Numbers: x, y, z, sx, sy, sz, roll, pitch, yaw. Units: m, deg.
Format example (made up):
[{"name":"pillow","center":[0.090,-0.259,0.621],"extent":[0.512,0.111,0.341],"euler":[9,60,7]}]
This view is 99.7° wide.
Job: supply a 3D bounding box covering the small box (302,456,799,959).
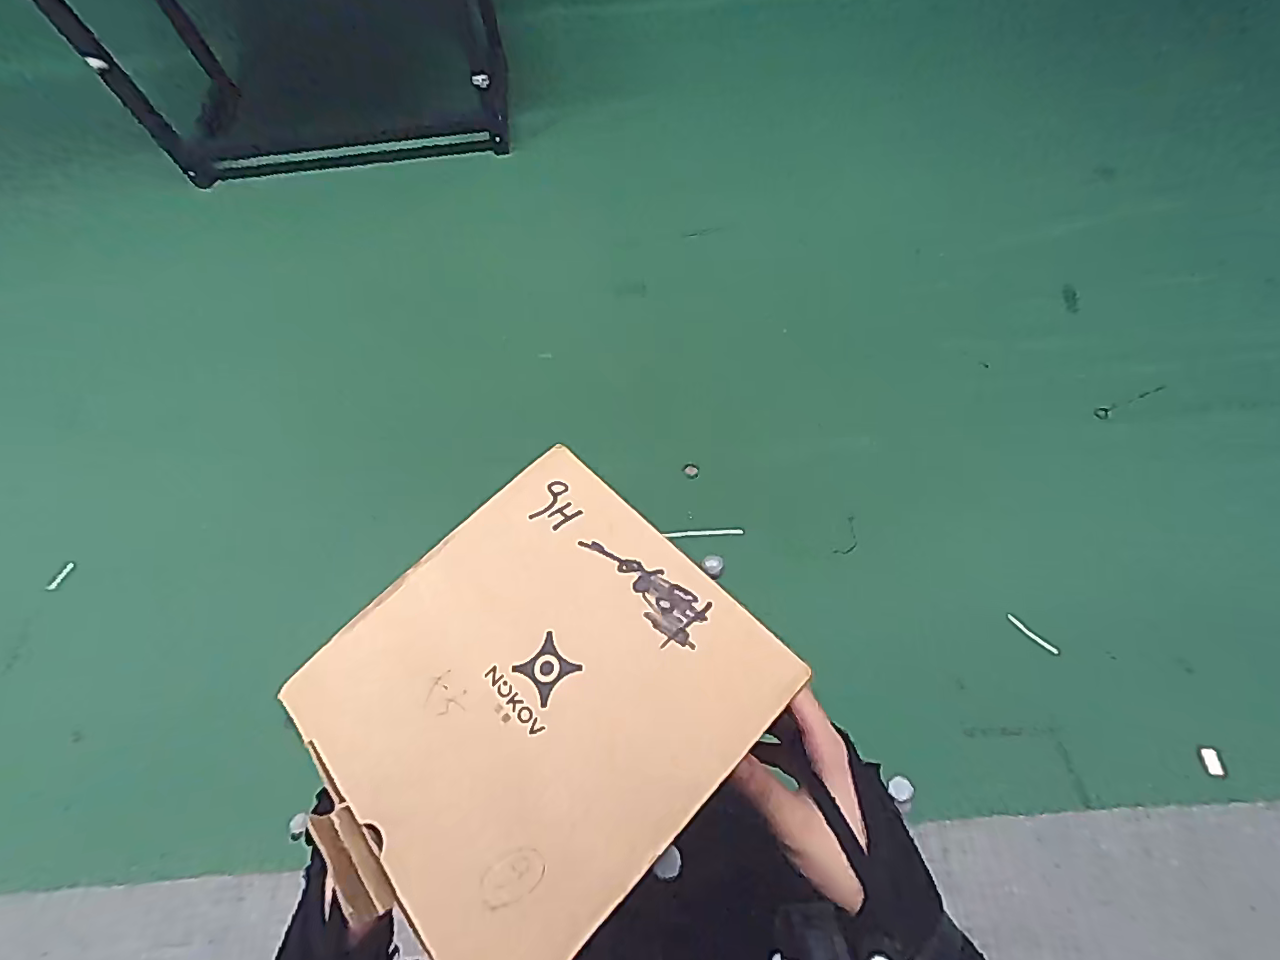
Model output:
[{"name":"small box","center":[-0.034,0.127,0.311],"extent":[0.179,0.176,0.168],"euler":[-43,66,-13]}]
